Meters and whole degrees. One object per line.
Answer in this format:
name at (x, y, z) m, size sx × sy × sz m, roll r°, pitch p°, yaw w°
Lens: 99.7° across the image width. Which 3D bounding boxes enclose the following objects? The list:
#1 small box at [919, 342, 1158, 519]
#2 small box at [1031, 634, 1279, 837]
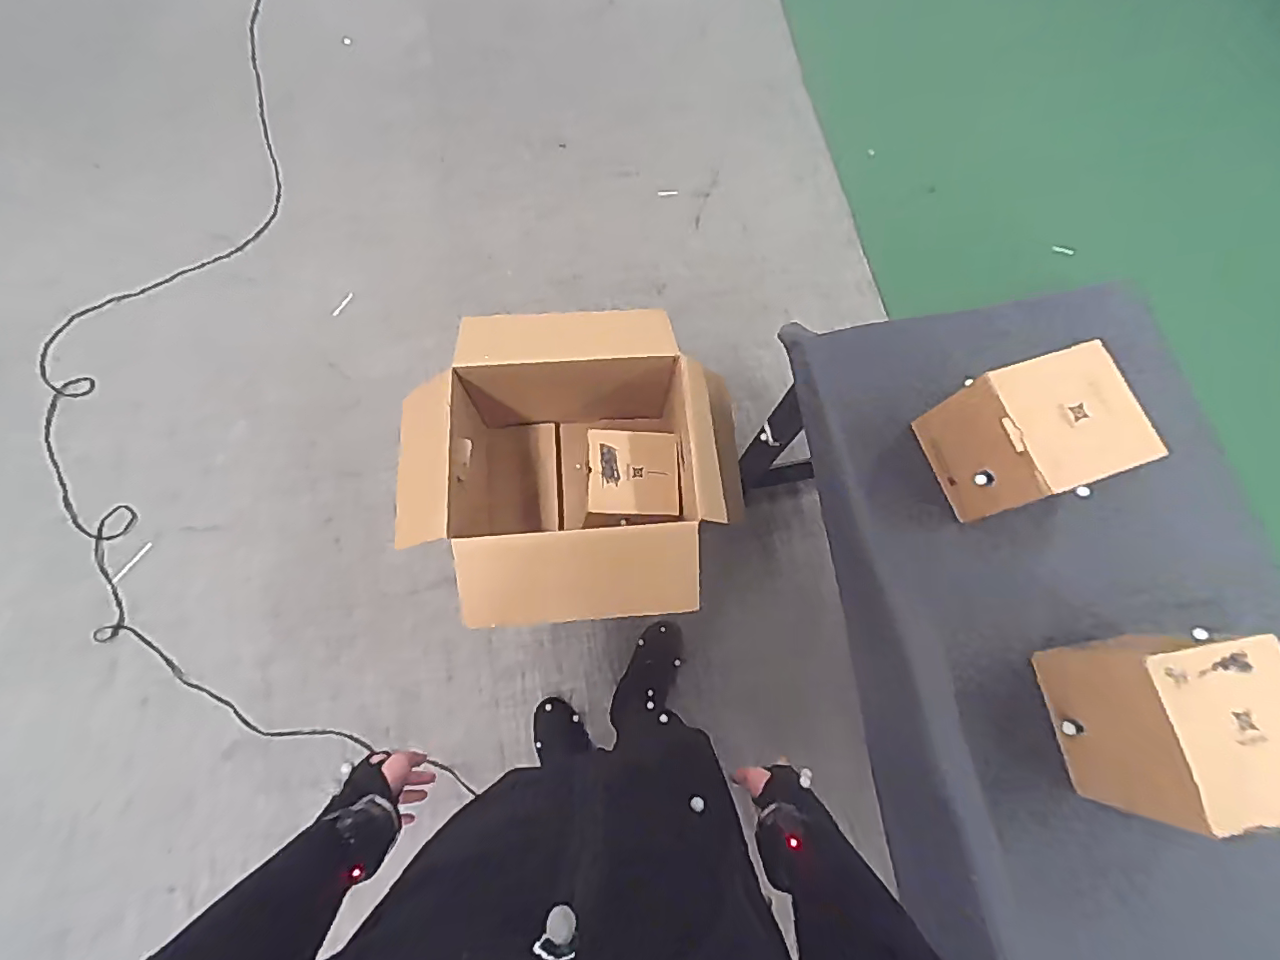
small box at (0.518, -0.058, 0.738) m, size 0.179 × 0.176 × 0.168 m, roll -17°, pitch 77°, yaw -11°
small box at (0.621, 0.284, 0.642) m, size 0.168 × 0.176 × 0.179 m, roll -7°, pitch 75°, yaw -6°
